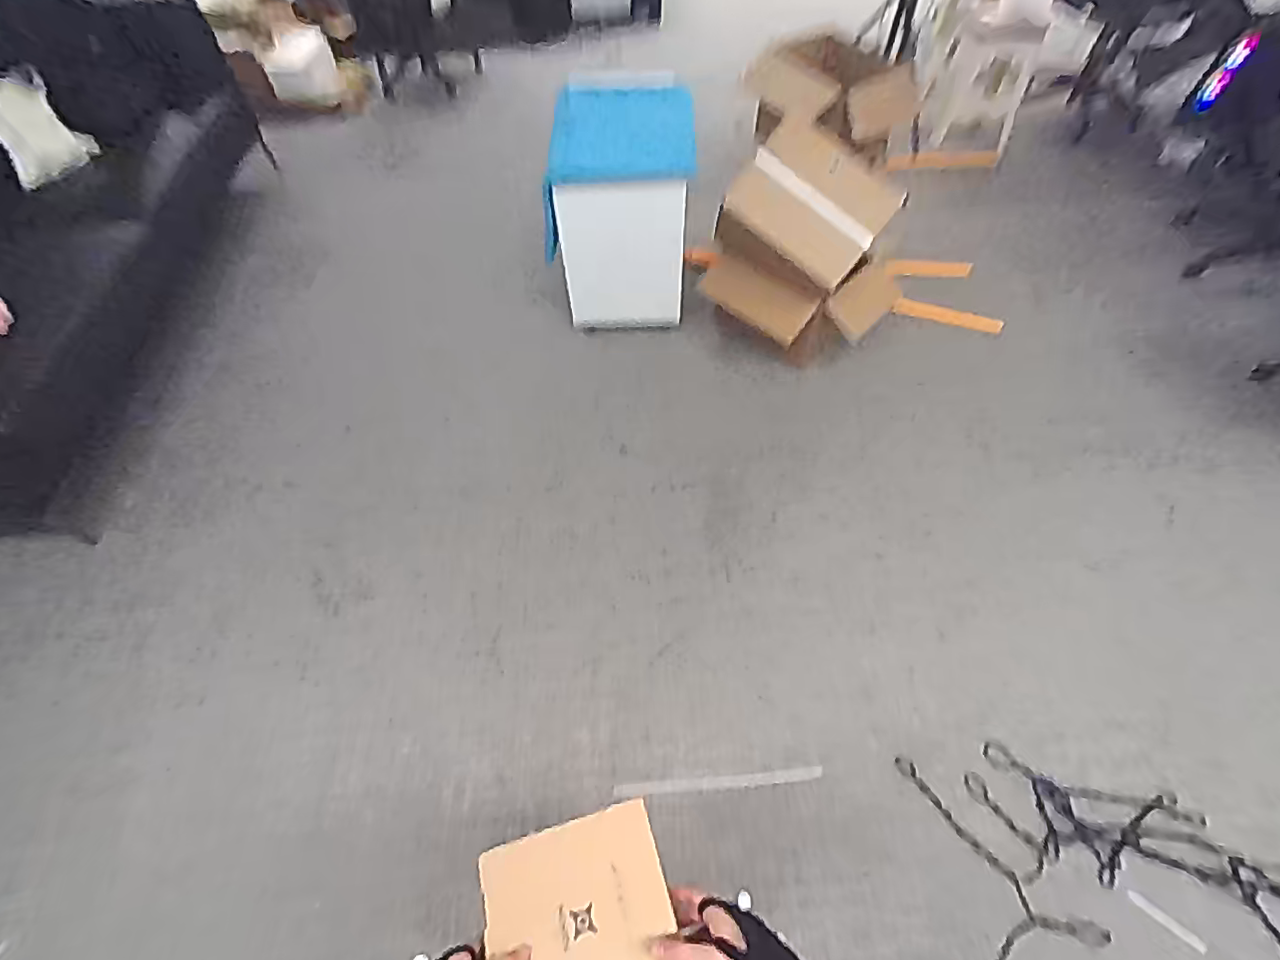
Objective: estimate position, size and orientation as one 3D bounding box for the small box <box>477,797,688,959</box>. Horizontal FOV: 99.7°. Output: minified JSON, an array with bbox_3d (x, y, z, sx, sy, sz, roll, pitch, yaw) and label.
[{"bbox_3d":[-0.052,0.456,0.554,0.179,0.176,0.168,-15,50,-7],"label":"small box"}]
